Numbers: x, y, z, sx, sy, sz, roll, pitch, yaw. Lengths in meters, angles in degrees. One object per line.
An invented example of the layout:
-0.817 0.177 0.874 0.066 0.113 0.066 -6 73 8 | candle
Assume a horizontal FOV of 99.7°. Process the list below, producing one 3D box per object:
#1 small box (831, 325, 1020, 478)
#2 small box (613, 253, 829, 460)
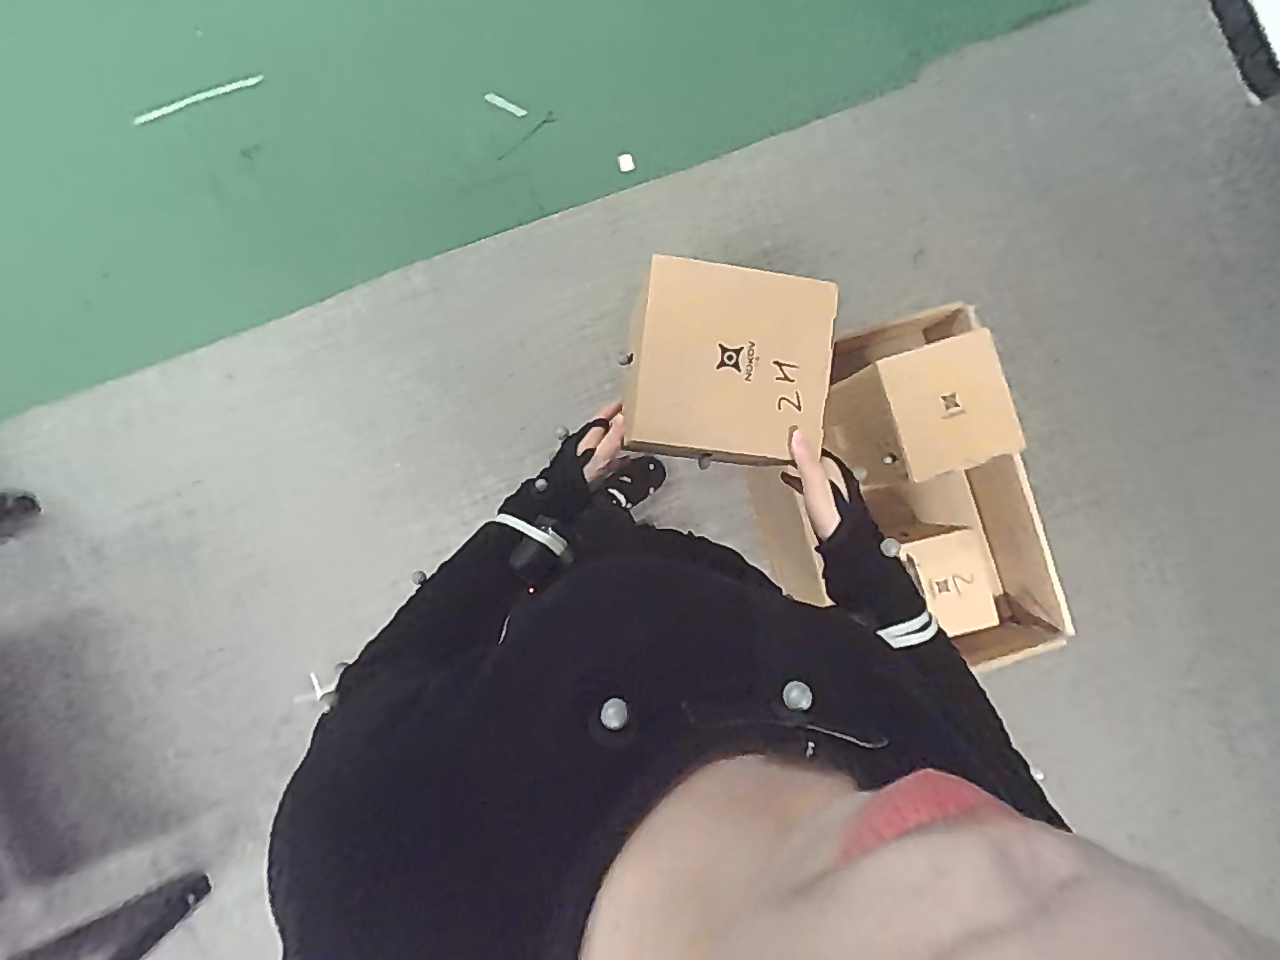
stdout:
0.412 -0.106 0.810 0.168 0.176 0.179 -17 91 -3 | small box
0.069 -0.111 0.560 0.179 0.176 0.168 6 91 -8 | small box
